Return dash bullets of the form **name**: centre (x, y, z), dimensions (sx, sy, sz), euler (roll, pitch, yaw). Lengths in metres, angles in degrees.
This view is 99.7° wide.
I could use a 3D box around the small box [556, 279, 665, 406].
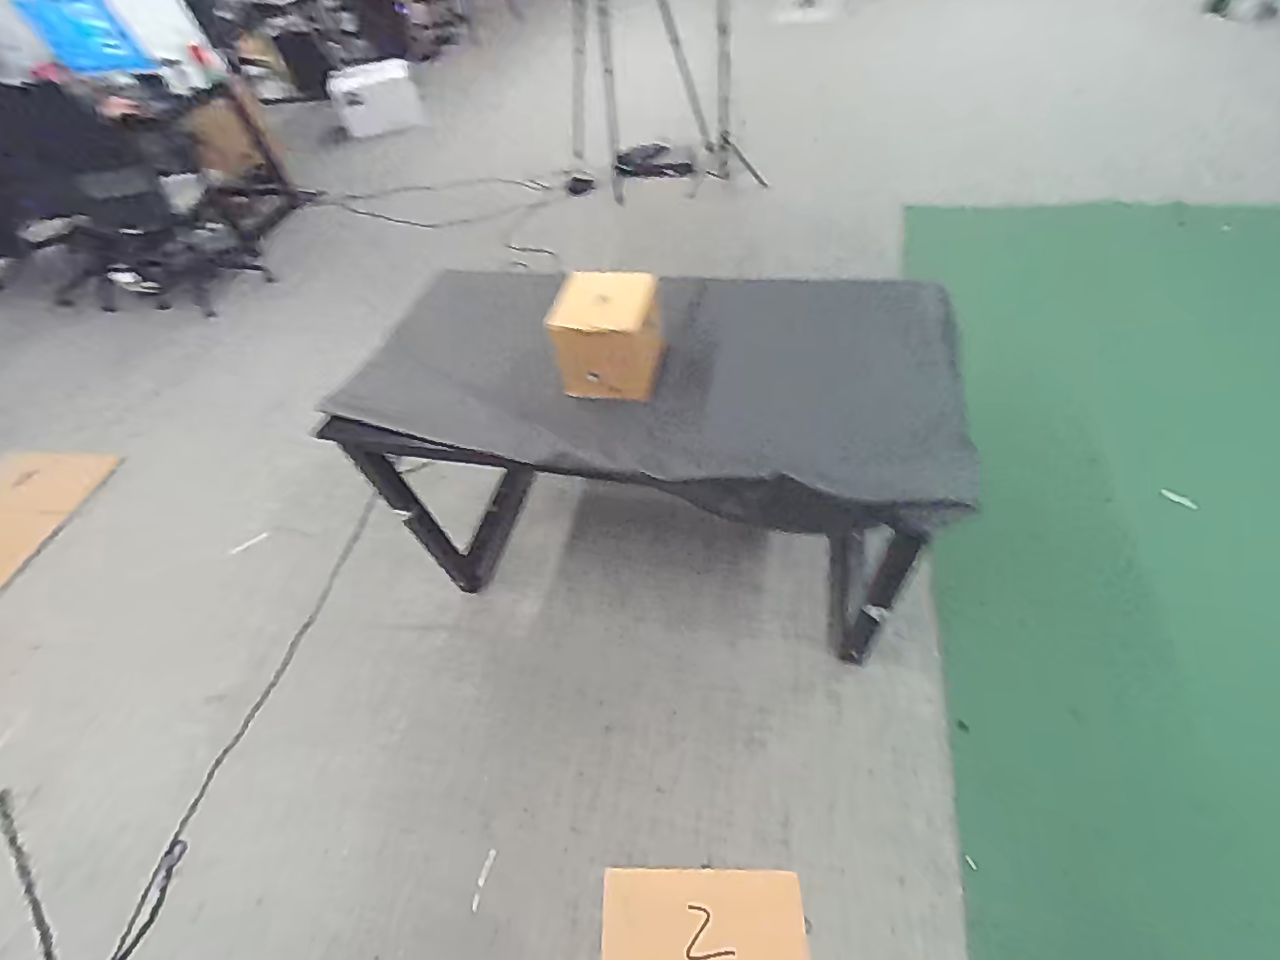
- **small box**: centre (-0.048, -0.272, 1.067), dimensions (0.168, 0.176, 0.179), euler (6, 54, 13)
